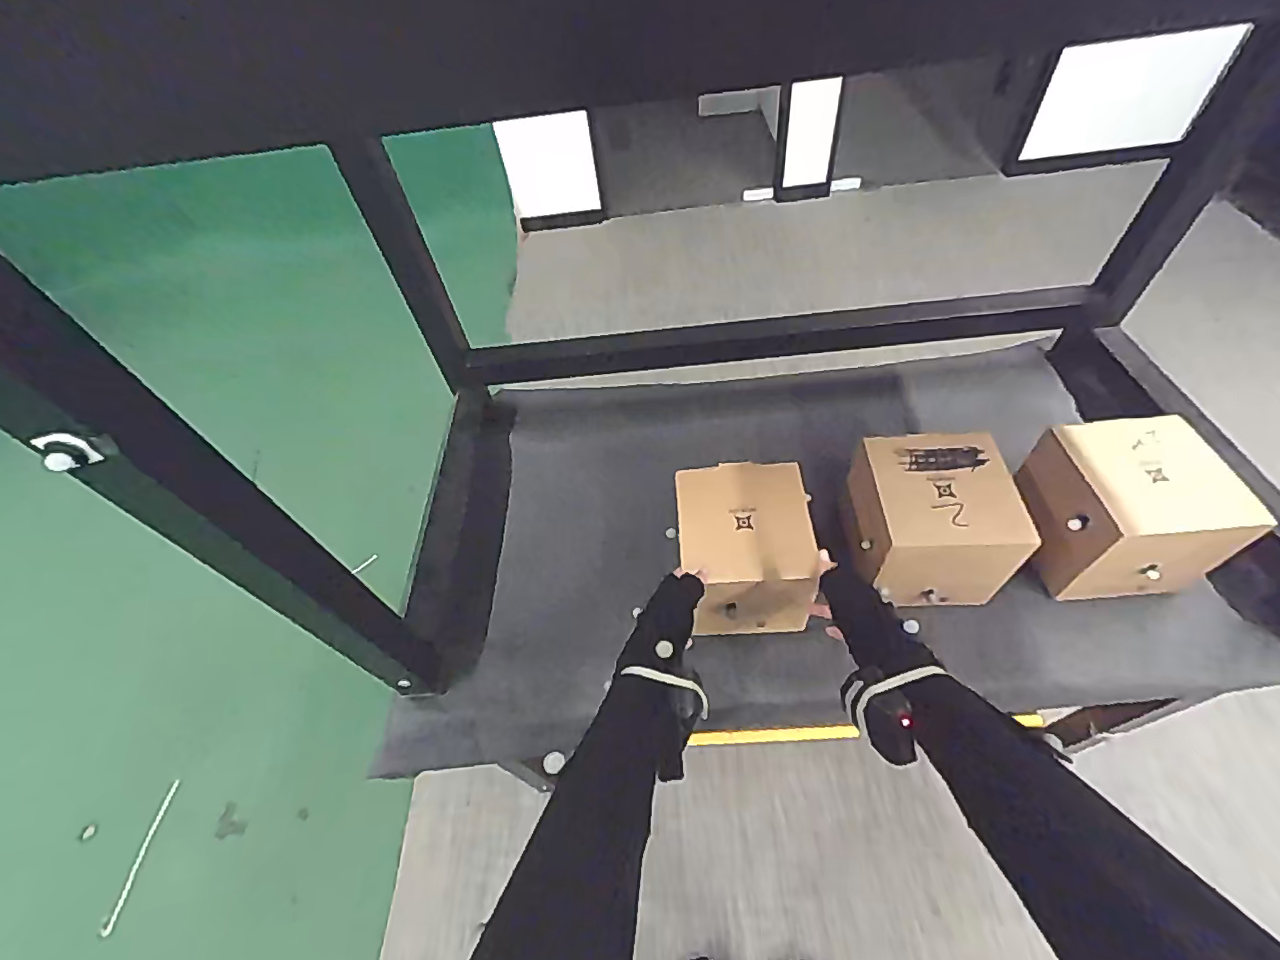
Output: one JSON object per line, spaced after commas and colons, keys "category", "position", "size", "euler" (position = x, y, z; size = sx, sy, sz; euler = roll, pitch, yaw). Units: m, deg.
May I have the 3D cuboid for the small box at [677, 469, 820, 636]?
{"category": "small box", "position": [0.140, 0.107, 0.747], "size": [0.168, 0.176, 0.179], "euler": [-4, 51, 5]}

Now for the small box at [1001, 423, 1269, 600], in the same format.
{"category": "small box", "position": [0.632, 0.049, 0.724], "size": [0.168, 0.176, 0.179], "euler": [-5, 50, 4]}
